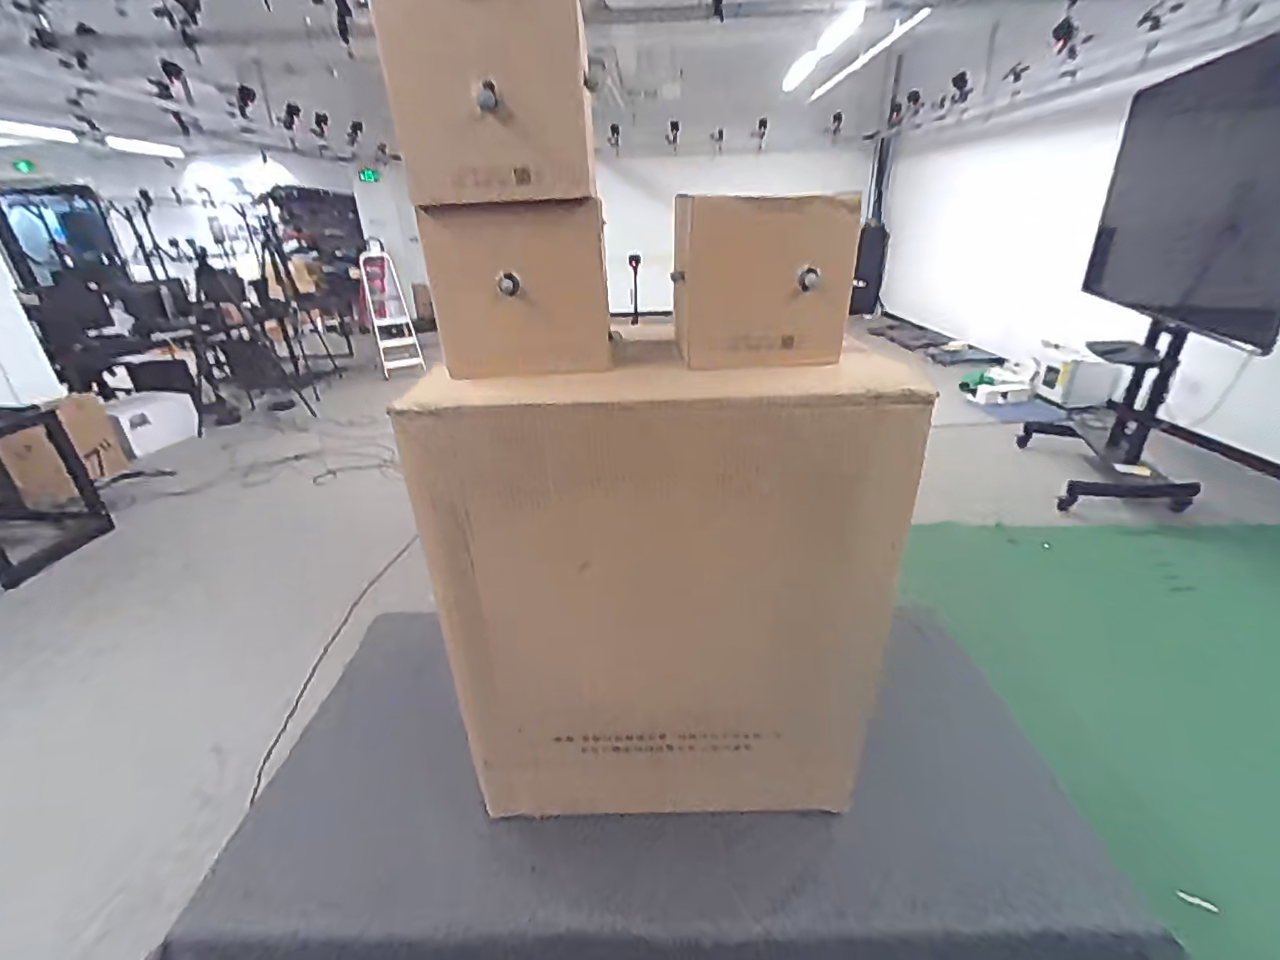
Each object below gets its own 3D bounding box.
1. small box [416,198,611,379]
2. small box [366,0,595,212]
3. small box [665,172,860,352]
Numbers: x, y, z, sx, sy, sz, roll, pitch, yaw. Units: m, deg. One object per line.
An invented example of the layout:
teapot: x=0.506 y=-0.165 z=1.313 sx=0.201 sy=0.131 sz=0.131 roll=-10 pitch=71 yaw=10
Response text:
small box: x=-0.125 y=-0.222 z=0.621 sx=0.179 sy=0.176 sz=0.168 roll=-4 pitch=28 yaw=0
small box: x=-0.134 y=-0.362 z=0.536 sx=0.168 sy=0.176 sz=0.179 roll=-4 pitch=28 yaw=-1
small box: x=0.123 y=-0.247 z=0.613 sx=0.168 sy=0.176 sz=0.179 roll=-4 pitch=29 yaw=-5
